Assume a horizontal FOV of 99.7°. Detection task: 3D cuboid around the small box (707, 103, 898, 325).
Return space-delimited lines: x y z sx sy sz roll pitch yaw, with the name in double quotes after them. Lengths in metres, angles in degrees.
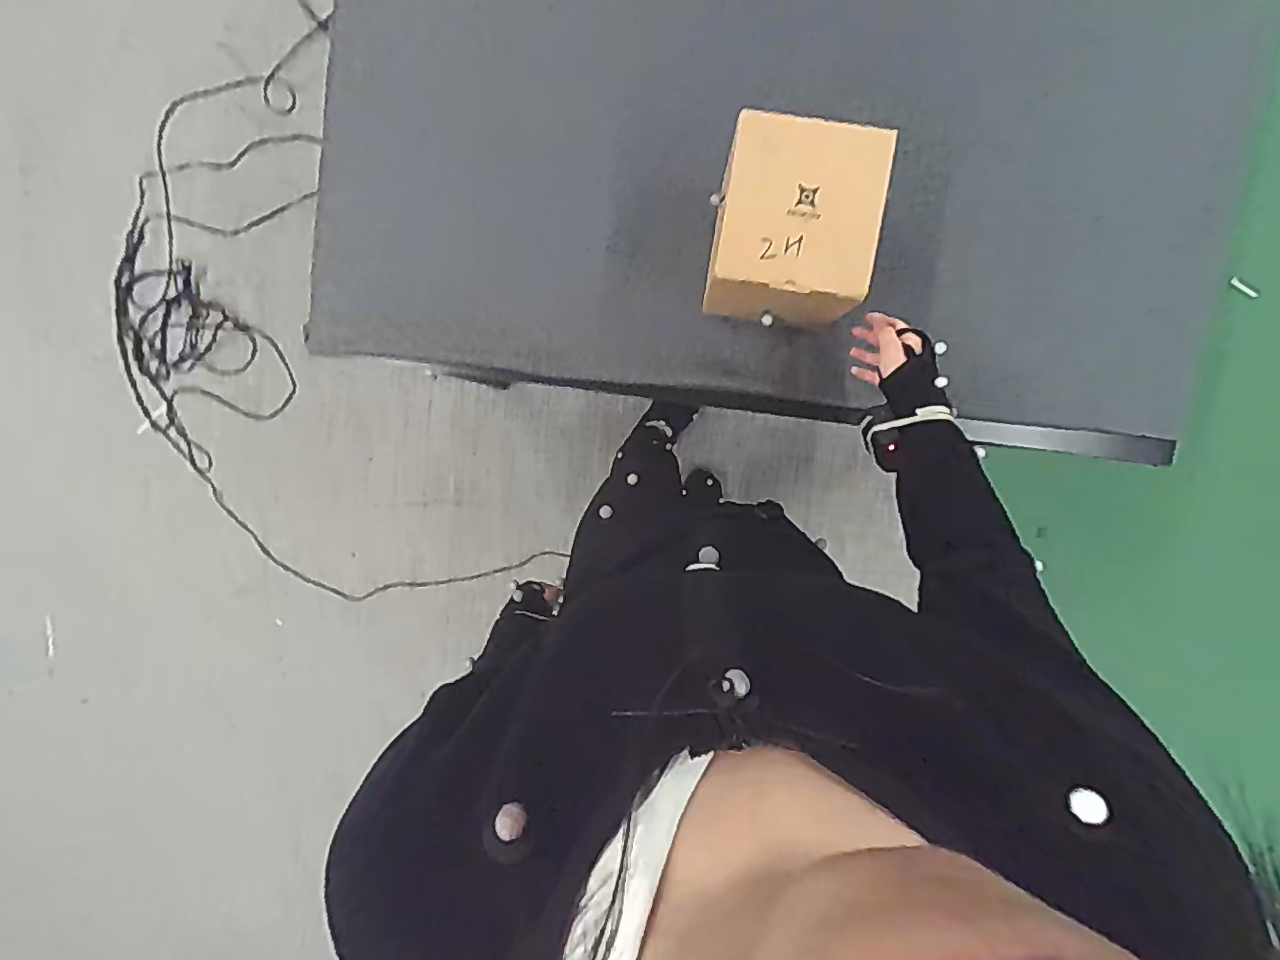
0.177 -0.300 0.644 0.168 0.176 0.179 9 95 2 "small box"
